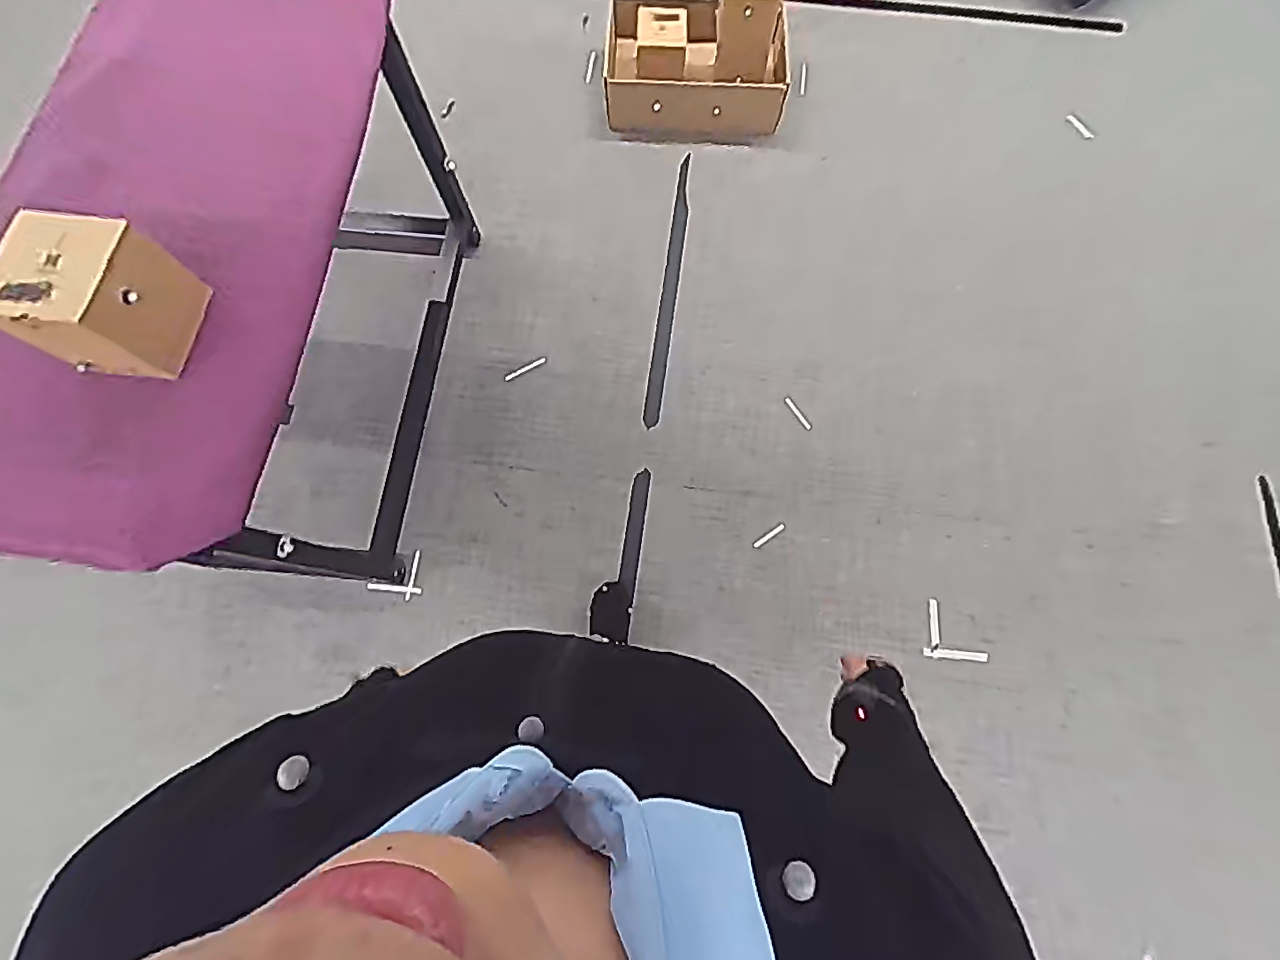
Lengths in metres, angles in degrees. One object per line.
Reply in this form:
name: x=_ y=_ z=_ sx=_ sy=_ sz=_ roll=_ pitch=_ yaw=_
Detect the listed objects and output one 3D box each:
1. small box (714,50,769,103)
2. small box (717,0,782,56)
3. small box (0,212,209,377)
small box: x=0.350 y=-1.453 z=1.883 sx=0.168 sy=0.176 sz=0.179 roll=3 pitch=73 yaw=1
small box: x=0.346 y=-1.496 z=1.726 sx=0.179 sy=0.176 sz=0.168 roll=3 pitch=74 yaw=2
small box: x=-0.827 y=-0.278 z=0.839 sx=0.168 sy=0.176 sz=0.179 roll=7 pitch=73 yaw=2
